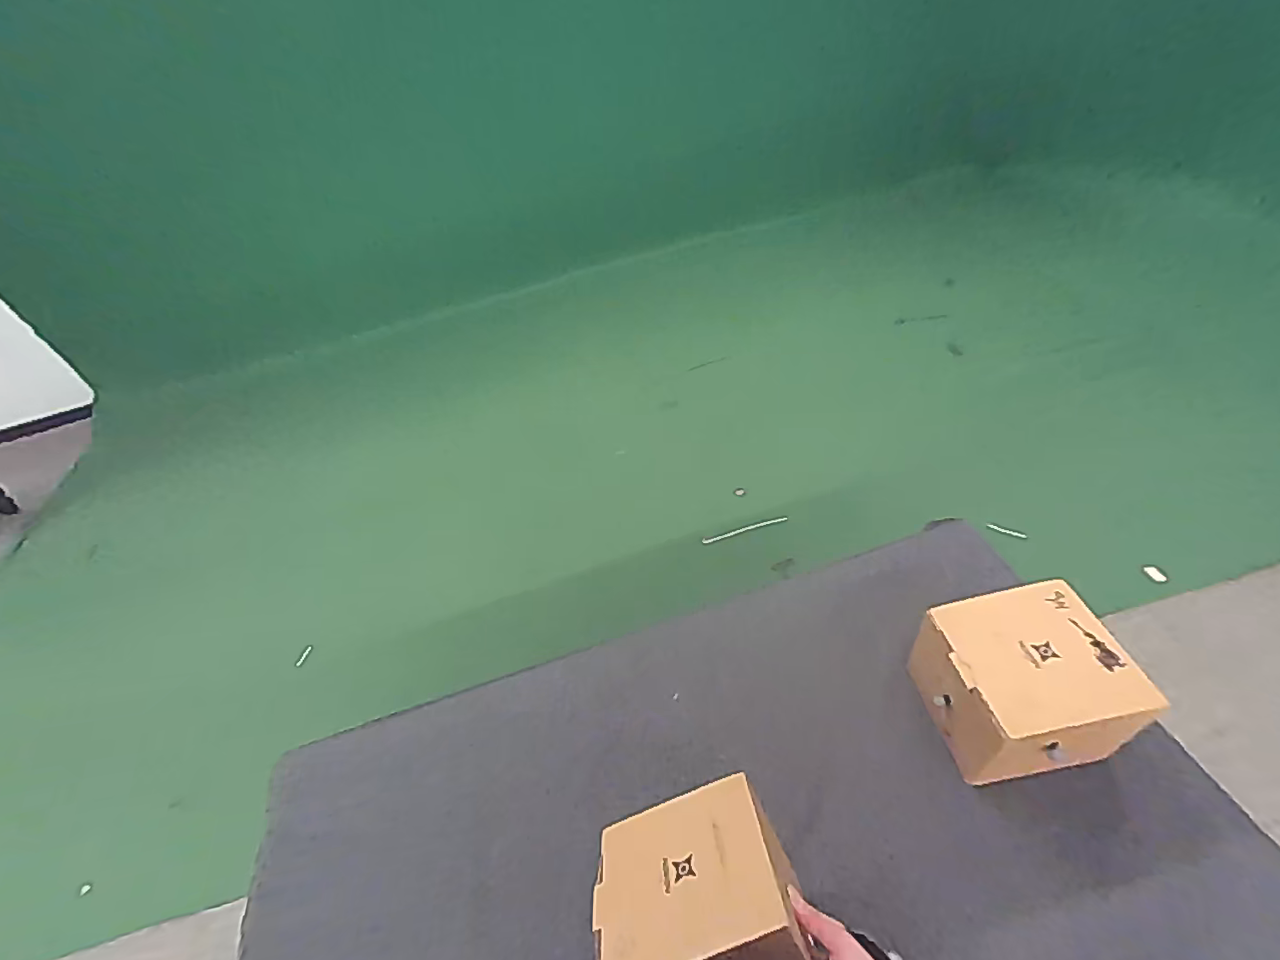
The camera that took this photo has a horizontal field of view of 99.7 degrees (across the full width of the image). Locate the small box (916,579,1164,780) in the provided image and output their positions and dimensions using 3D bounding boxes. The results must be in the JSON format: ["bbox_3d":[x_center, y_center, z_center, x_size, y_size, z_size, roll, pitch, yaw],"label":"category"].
[{"bbox_3d":[0.472,0.254,0.680,0.179,0.176,0.168,-13,45,2],"label":"small box"}]

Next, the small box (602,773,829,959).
[{"bbox_3d":[0.076,0.446,0.538,0.179,0.176,0.168,-25,15,3],"label":"small box"}]
